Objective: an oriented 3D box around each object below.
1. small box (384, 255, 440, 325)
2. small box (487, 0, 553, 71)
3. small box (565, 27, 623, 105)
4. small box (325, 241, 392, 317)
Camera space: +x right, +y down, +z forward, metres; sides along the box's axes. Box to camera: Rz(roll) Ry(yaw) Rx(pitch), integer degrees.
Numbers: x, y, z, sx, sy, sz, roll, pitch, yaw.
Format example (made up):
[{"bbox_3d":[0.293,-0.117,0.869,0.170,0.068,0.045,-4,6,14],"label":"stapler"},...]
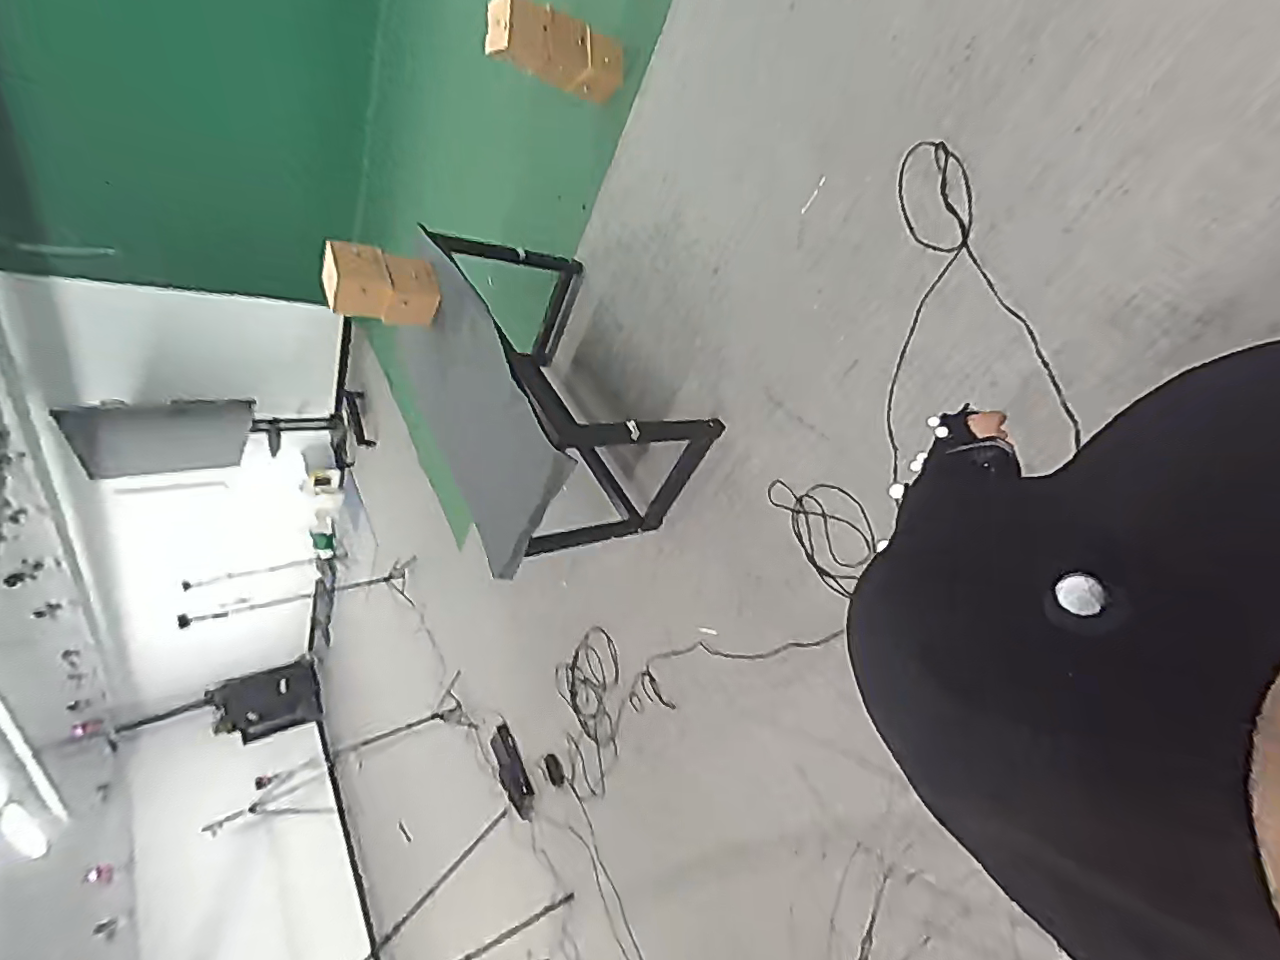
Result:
[{"bbox_3d":[-0.839,-0.683,1.963,0.179,0.176,0.168,-36,68,48],"label":"small box"},{"bbox_3d":[-0.440,-1.638,1.984,0.179,0.176,0.168,29,117,43],"label":"small box"},{"bbox_3d":[-0.180,-1.663,2.184,0.179,0.176,0.168,3,98,49],"label":"small box"},{"bbox_3d":[-0.968,-0.686,1.861,0.179,0.176,0.168,-43,63,46],"label":"small box"}]
